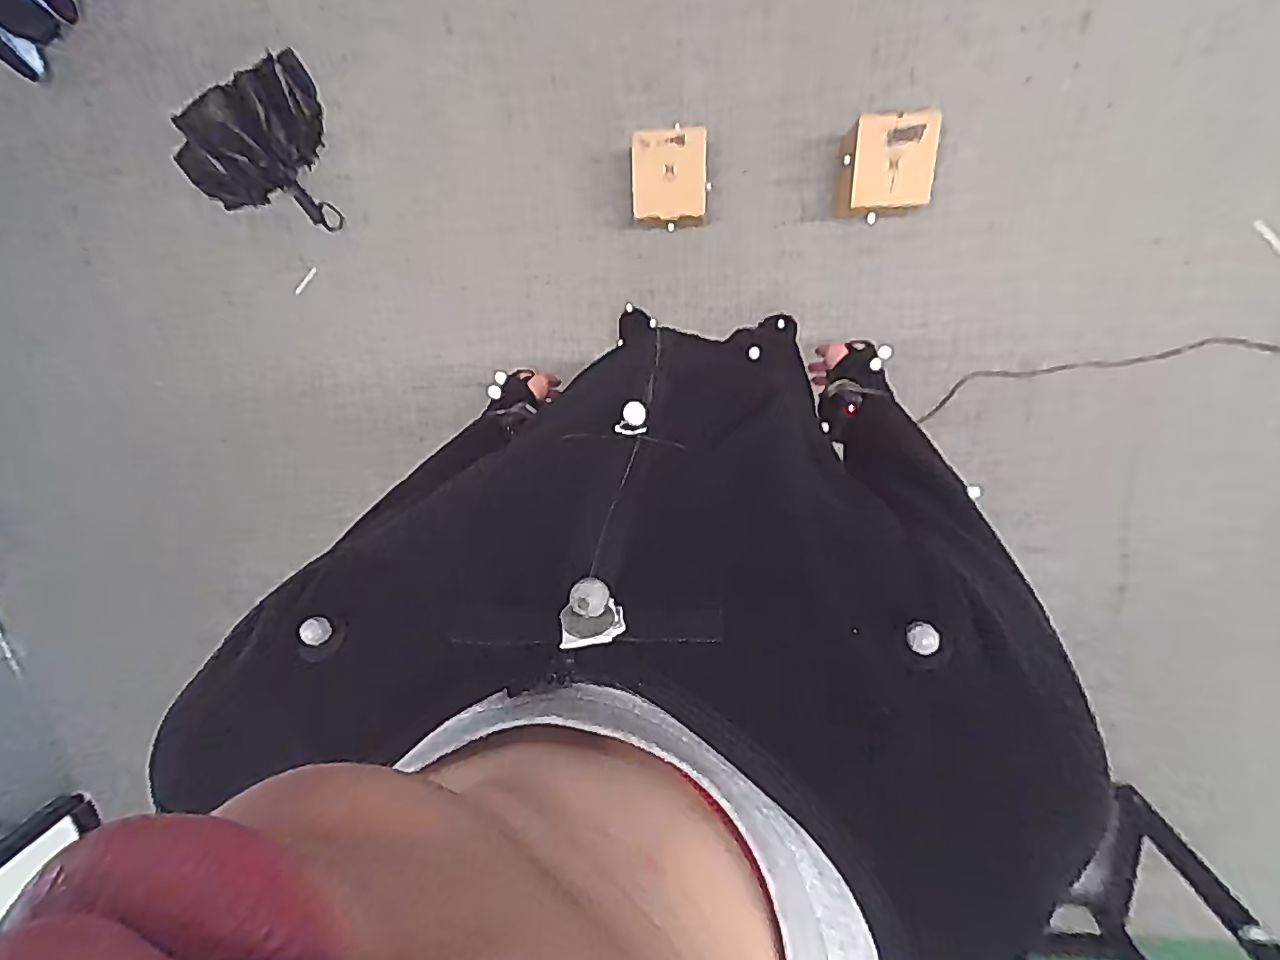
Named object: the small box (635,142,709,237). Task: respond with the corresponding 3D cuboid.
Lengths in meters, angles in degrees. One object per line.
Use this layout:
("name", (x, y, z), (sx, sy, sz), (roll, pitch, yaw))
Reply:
("small box", (0.080, -0.684, 1.294), (0.168, 0.176, 0.179), (1, 106, 7))

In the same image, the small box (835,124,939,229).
("small box", (0.553, -0.684, 1.235), (0.168, 0.176, 0.179), (2, 108, 7))
